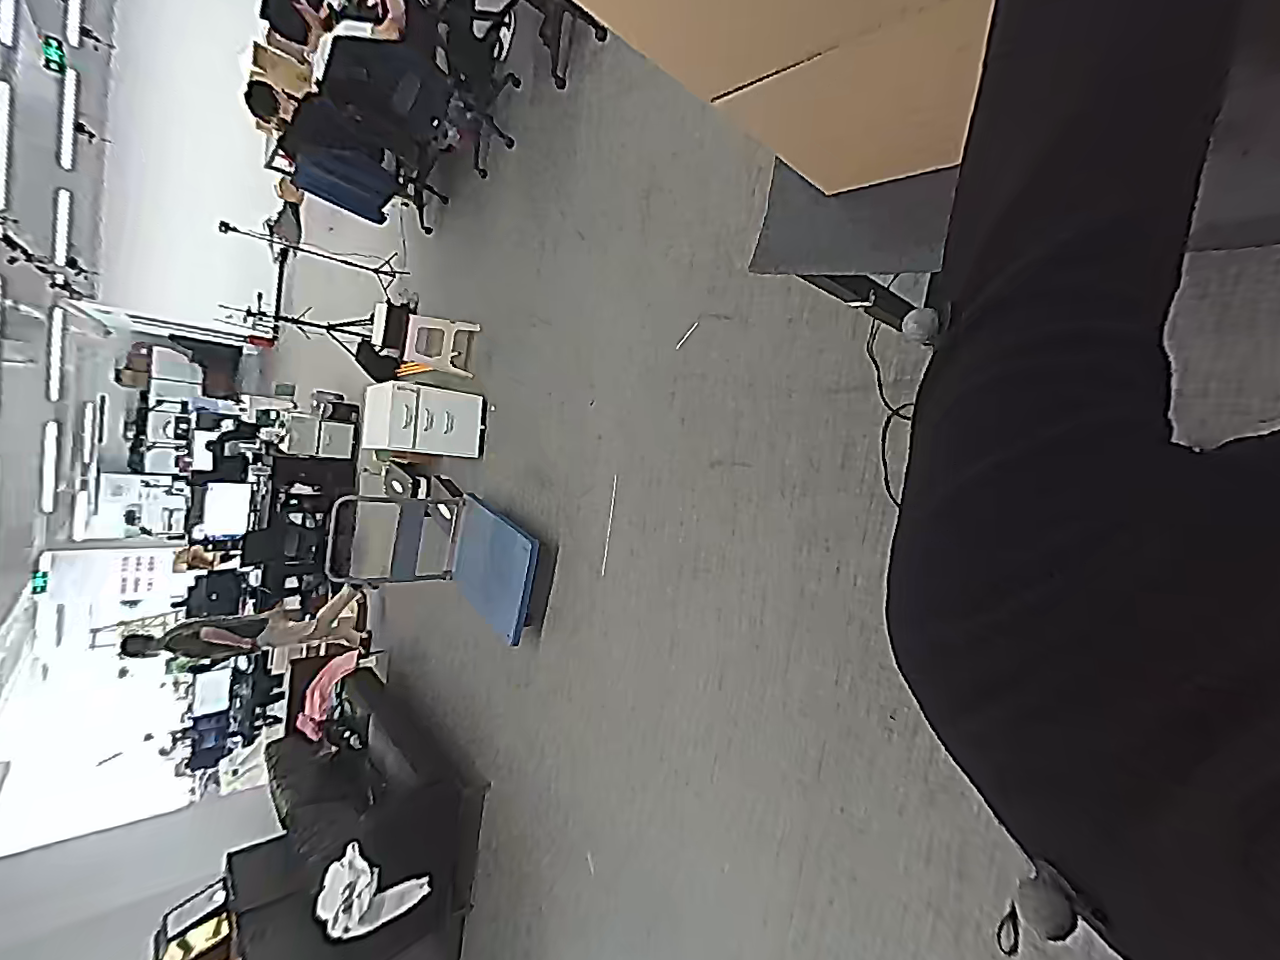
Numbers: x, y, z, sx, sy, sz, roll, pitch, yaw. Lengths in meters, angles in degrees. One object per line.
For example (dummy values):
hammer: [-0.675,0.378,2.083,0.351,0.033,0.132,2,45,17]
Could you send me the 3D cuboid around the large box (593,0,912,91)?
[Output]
large box: [0.133,-0.641,0.475,0.408,0.320,0.320,16,100,46]
